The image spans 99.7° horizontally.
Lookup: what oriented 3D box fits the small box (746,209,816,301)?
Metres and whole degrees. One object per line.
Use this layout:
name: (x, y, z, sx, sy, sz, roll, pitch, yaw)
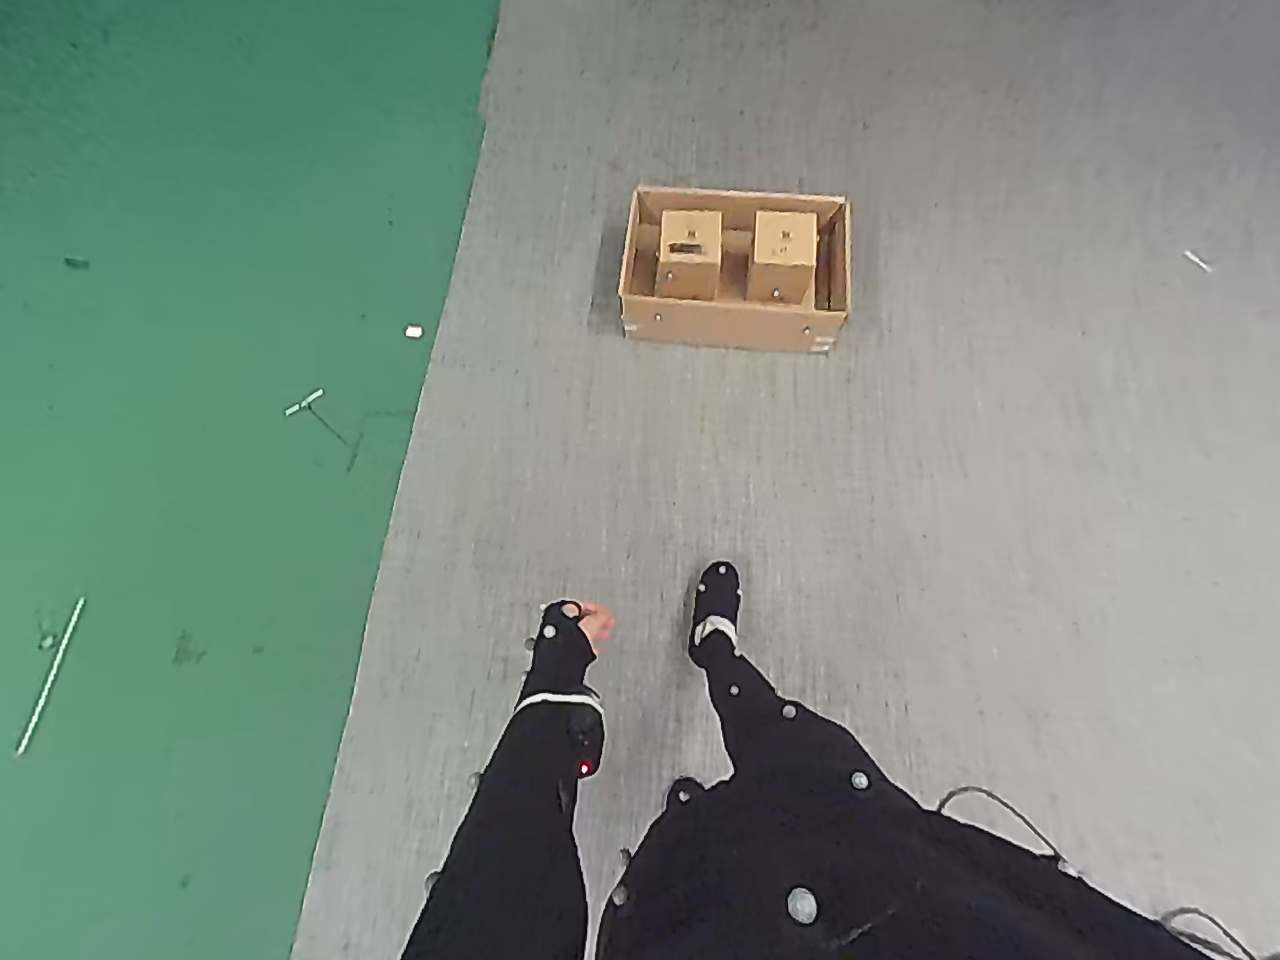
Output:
small box: (0.398, -0.638, 1.540, 0.168, 0.176, 0.179, 5, 72, 6)
